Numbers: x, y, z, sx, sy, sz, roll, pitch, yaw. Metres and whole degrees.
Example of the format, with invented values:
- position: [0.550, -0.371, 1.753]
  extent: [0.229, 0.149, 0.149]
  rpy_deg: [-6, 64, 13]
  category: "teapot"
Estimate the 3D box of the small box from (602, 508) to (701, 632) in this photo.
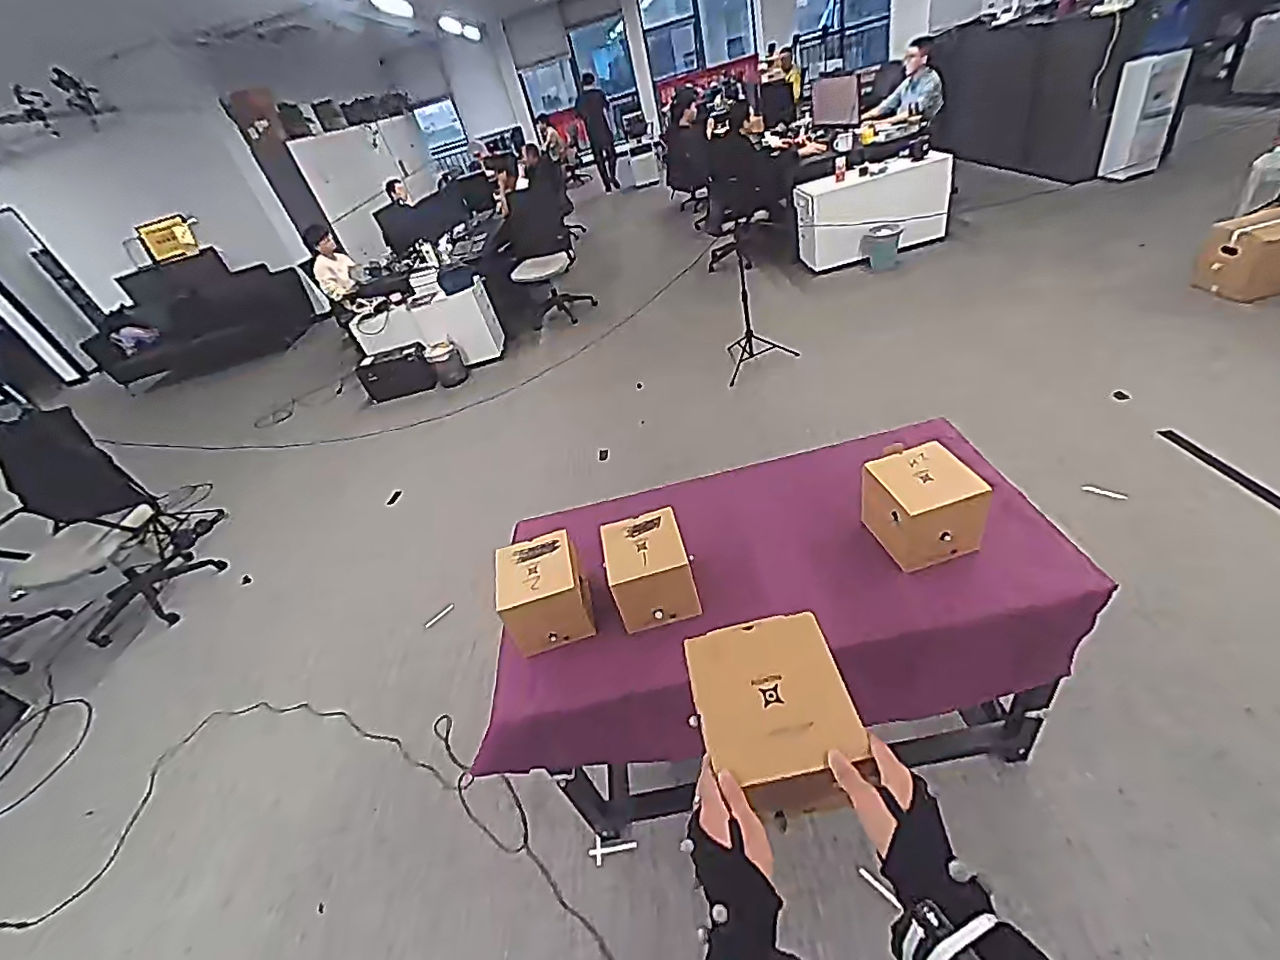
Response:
- position: [0.023, 0.194, 1.166]
  extent: [0.168, 0.176, 0.179]
  rpy_deg: [-17, 38, 1]
  category: "small box"

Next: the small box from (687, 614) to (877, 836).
- position: [0.158, 0.294, 0.653]
  extent: [0.168, 0.176, 0.179]
  rpy_deg: [-13, 43, 0]
  category: "small box"

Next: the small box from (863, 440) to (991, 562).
- position: [0.584, 0.050, 1.120]
  extent: [0.168, 0.176, 0.179]
  rpy_deg: [-18, 37, -1]
  category: "small box"
